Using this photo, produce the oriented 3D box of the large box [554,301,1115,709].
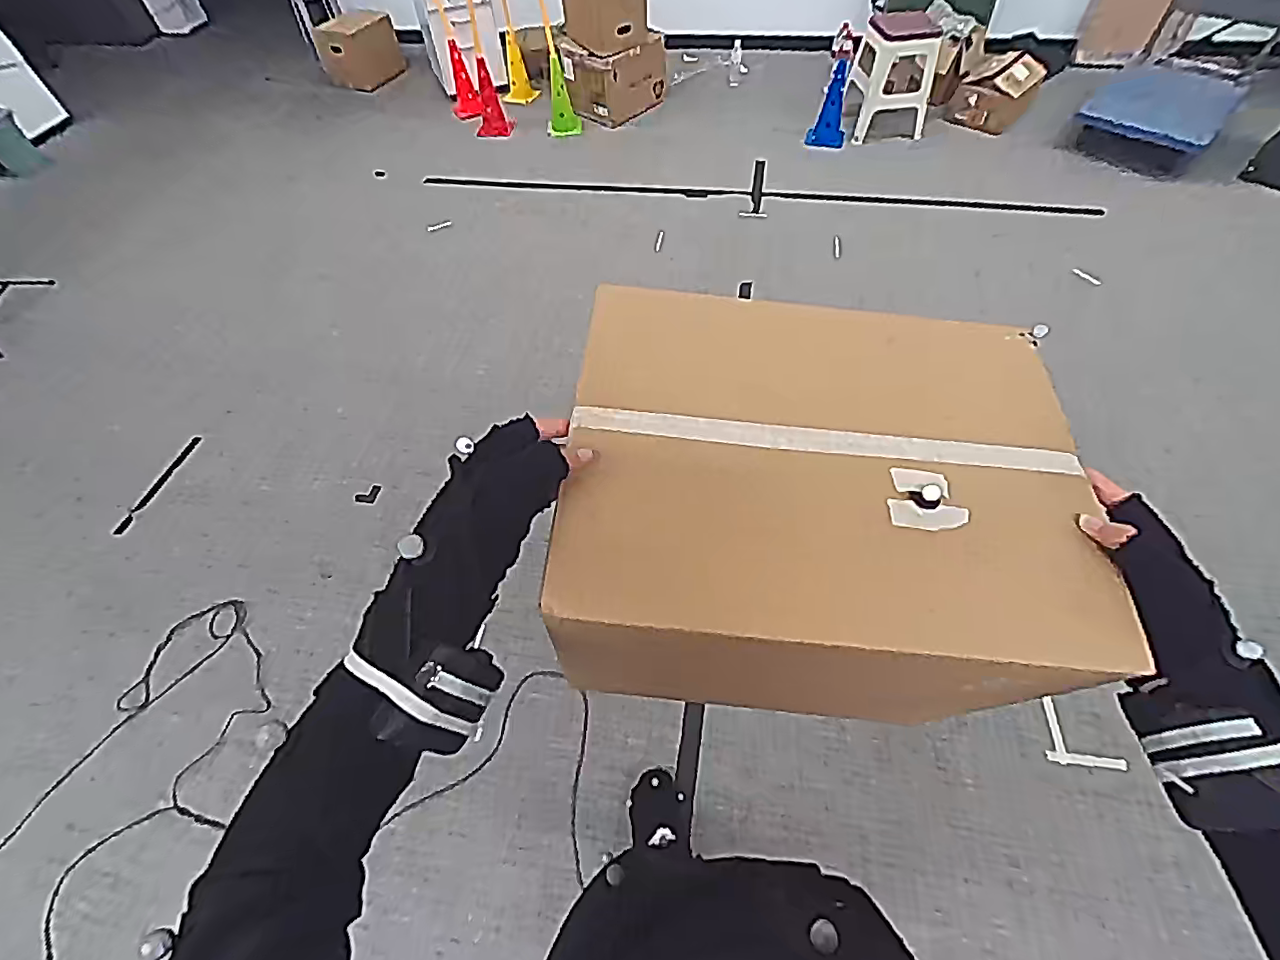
[{"bbox_3d":[0.135,0.048,0.575,0.408,0.320,0.320,5,61,-1],"label":"large box"}]
